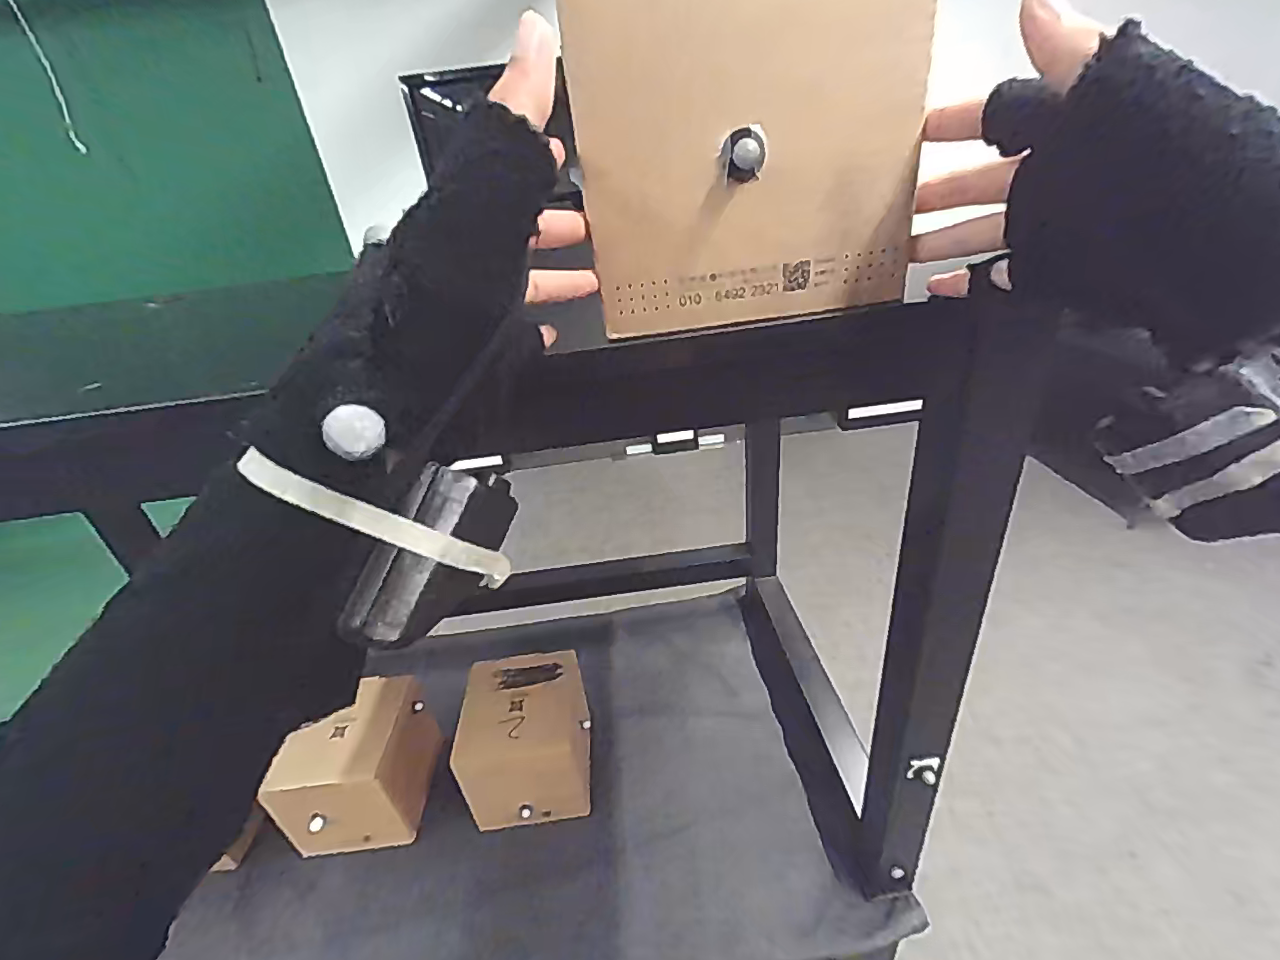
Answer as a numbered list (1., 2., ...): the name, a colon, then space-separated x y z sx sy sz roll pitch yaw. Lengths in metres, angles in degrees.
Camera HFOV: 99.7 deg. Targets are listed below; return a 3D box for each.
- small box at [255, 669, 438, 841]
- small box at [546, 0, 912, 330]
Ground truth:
1. small box: -0.430 0.424 0.832 0.168 0.176 0.179 -7 29 0
2. small box: 0.045 -0.196 0.330 0.168 0.176 0.179 -7 29 0
